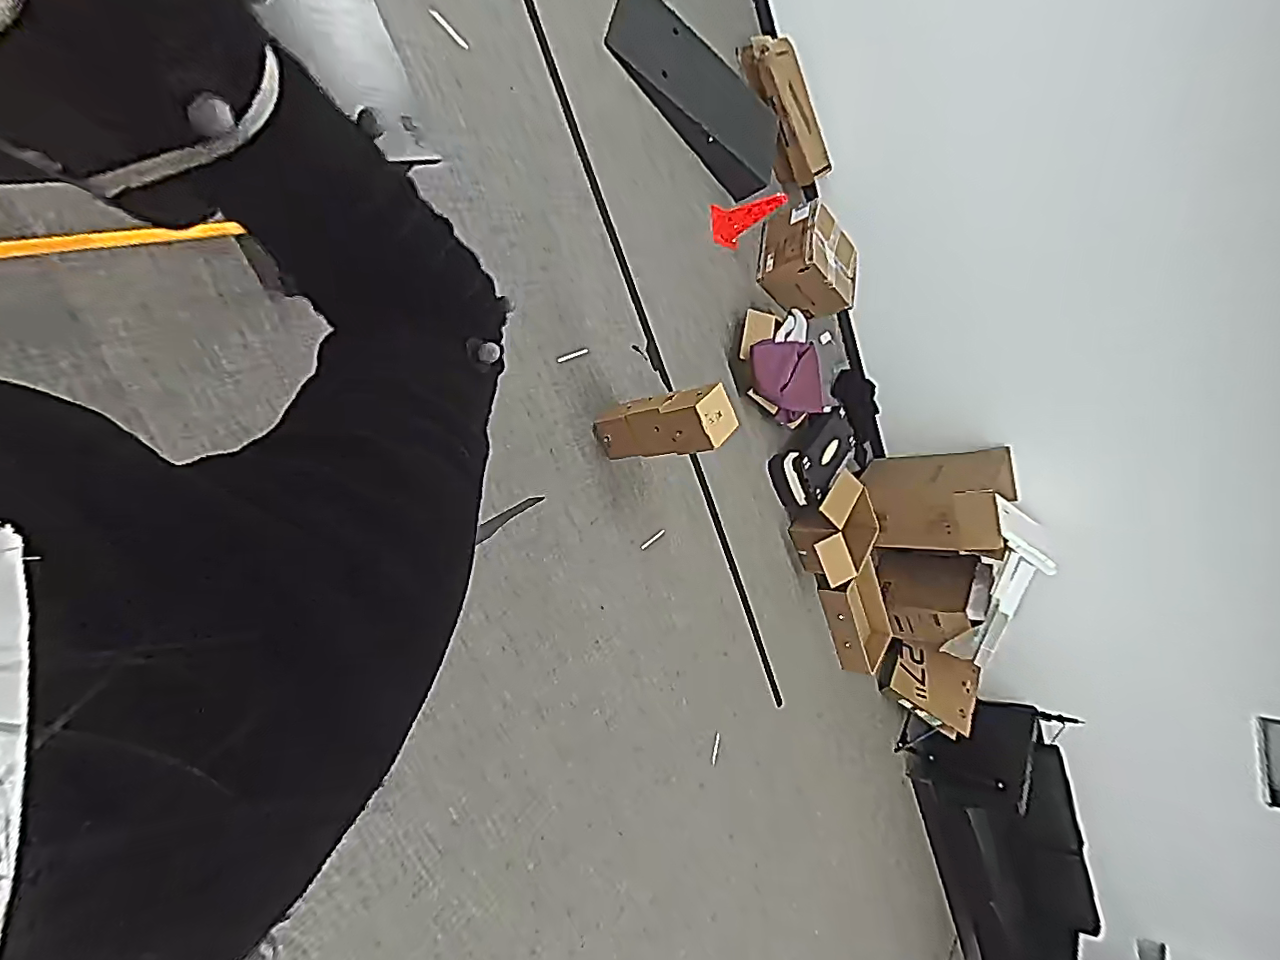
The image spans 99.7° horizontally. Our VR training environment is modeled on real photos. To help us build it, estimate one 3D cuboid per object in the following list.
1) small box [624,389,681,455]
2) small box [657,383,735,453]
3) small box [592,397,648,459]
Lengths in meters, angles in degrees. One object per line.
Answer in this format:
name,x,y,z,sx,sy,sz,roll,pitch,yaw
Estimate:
small box,0.070,-0.204,1.945,0.168,0.176,0.179,-40,114,-40
small box,0.188,-0.207,1.828,0.179,0.176,0.168,-44,116,-38
small box,-0.049,-0.196,2.057,0.179,0.176,0.168,-42,114,-38
